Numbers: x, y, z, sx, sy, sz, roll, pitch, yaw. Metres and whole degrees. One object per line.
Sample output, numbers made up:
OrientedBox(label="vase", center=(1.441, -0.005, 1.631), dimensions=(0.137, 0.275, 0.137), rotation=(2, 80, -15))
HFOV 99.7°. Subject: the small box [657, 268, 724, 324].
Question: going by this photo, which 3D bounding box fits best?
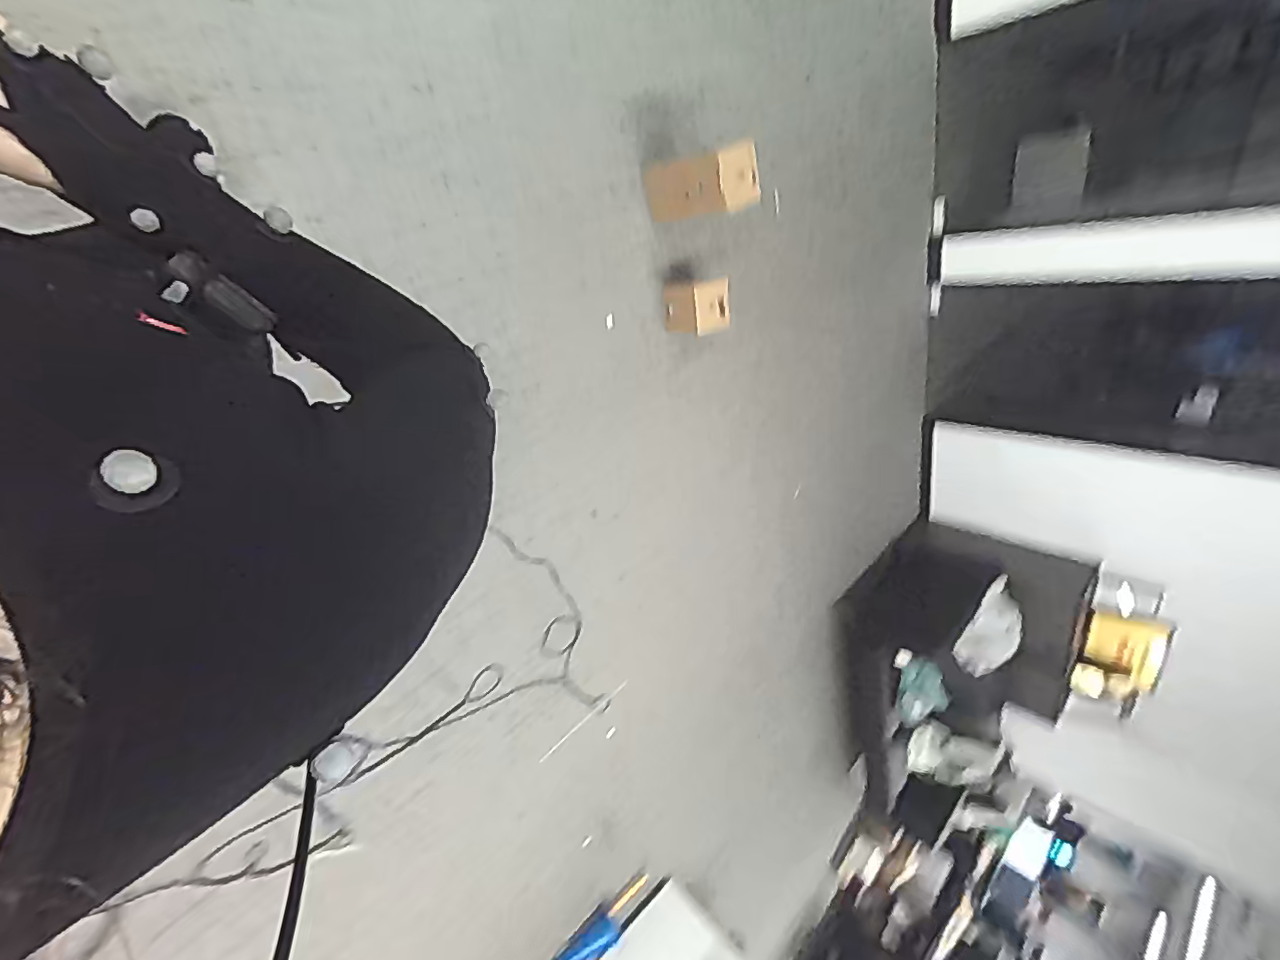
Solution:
OrientedBox(label="small box", center=(0.183, -0.674, 1.968), dimensions=(0.179, 0.176, 0.168), rotation=(-27, 122, -33))
